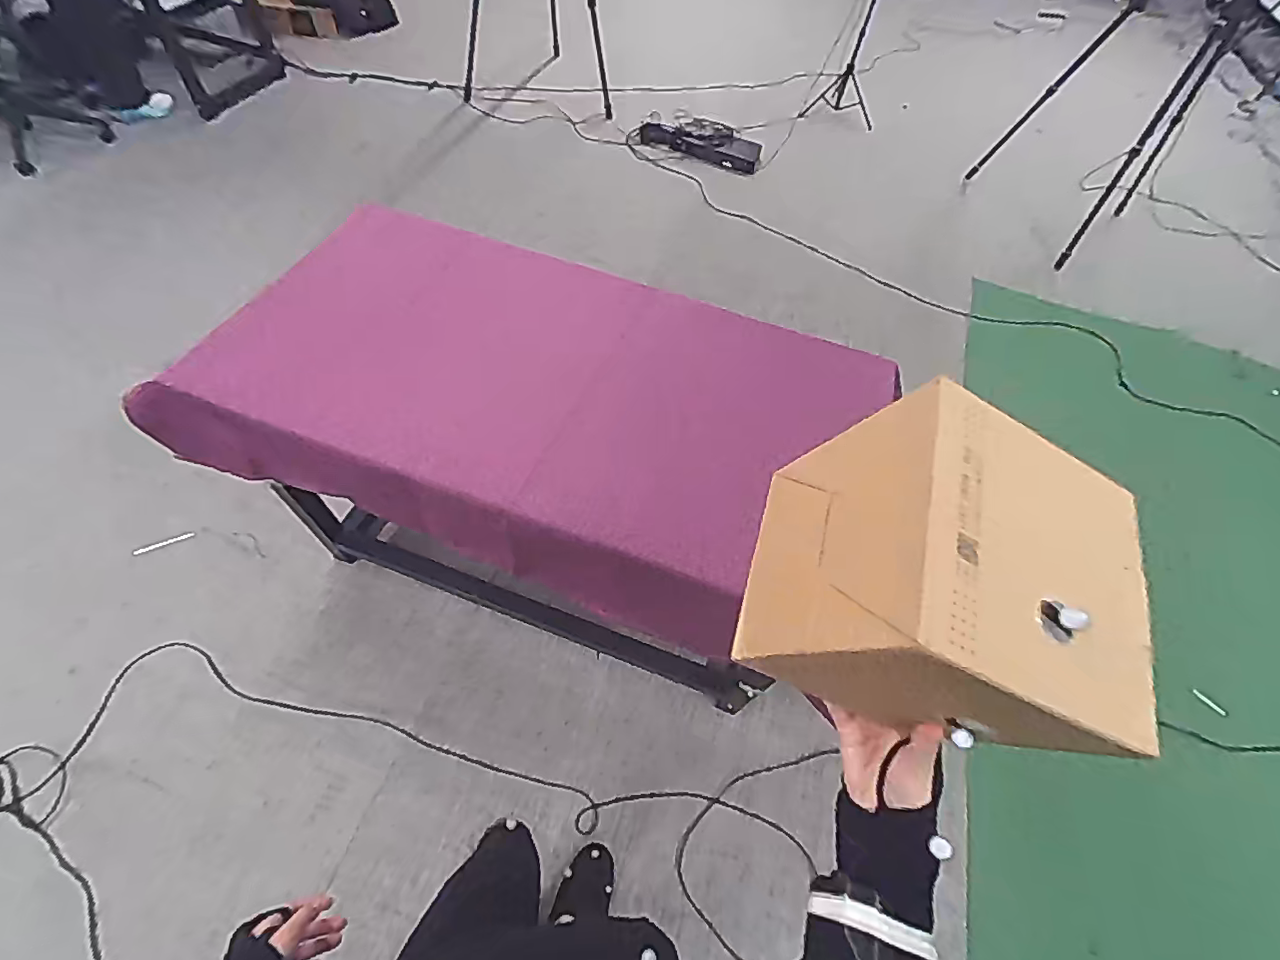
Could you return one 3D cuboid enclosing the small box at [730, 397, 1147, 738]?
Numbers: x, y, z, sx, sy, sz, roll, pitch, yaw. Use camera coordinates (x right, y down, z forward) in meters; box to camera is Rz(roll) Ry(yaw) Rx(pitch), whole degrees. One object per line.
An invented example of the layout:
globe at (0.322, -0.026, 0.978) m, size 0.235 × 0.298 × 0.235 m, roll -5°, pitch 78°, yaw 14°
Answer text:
small box at (0.188, 0.066, 0.379) m, size 0.176 × 0.179 × 0.168 m, roll 27°, pitch 61°, yaw -12°
